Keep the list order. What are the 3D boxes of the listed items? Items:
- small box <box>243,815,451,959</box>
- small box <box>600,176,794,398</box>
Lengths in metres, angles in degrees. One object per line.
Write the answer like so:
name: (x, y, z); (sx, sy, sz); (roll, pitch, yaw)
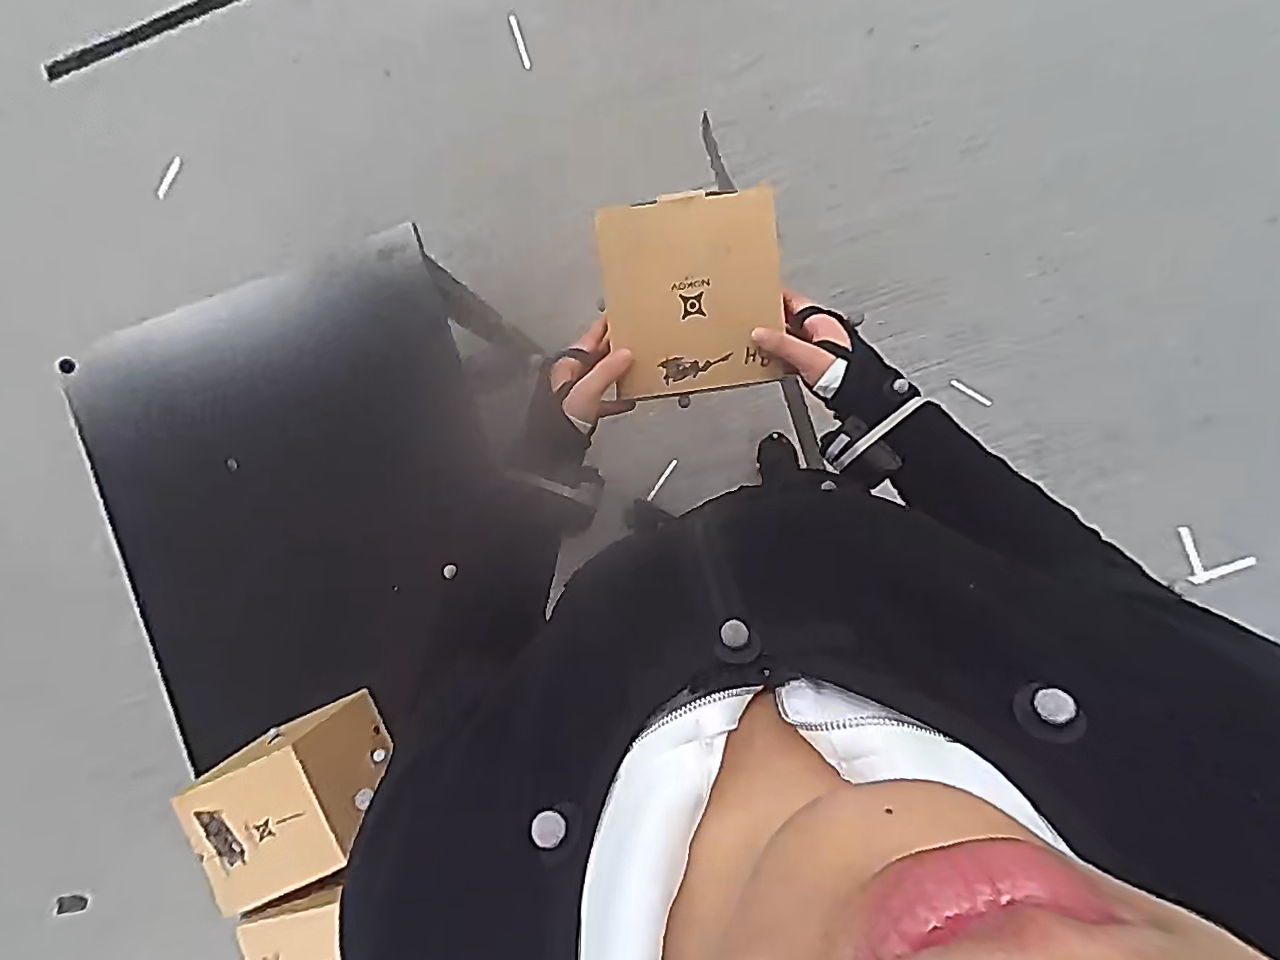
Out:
small box: (-0.380, 0.597, 0.738); (0.179, 0.176, 0.168); (-16, 89, 5)
small box: (0.054, -0.187, 0.576); (0.168, 0.176, 0.179); (-8, 96, 3)
